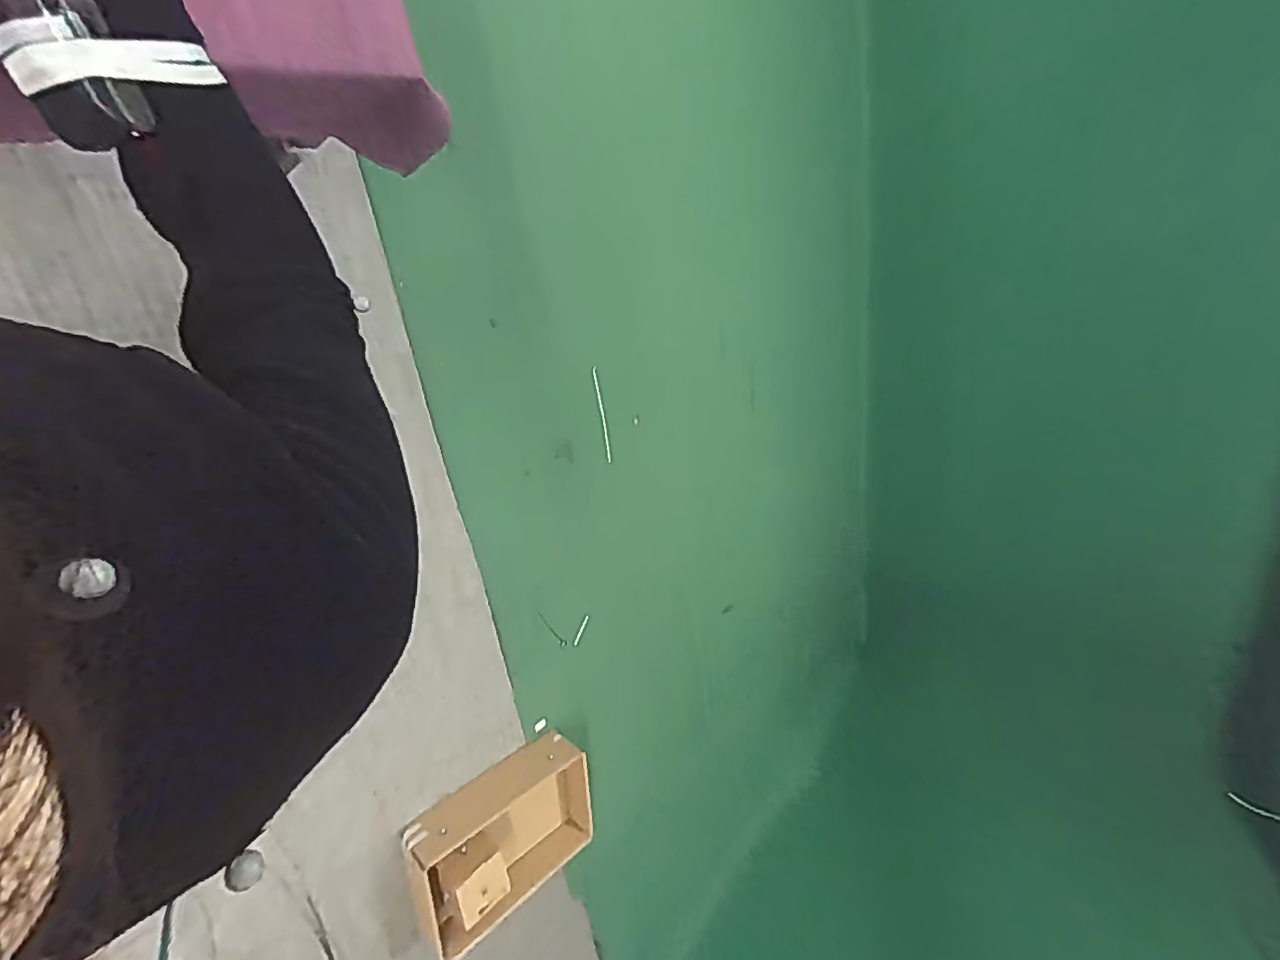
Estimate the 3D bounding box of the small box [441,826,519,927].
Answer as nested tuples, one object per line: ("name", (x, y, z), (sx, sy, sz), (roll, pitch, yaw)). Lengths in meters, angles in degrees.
("small box", (-0.518, 1.259, 1.739), (0.168, 0.176, 0.179), (-22, 112, -42))
